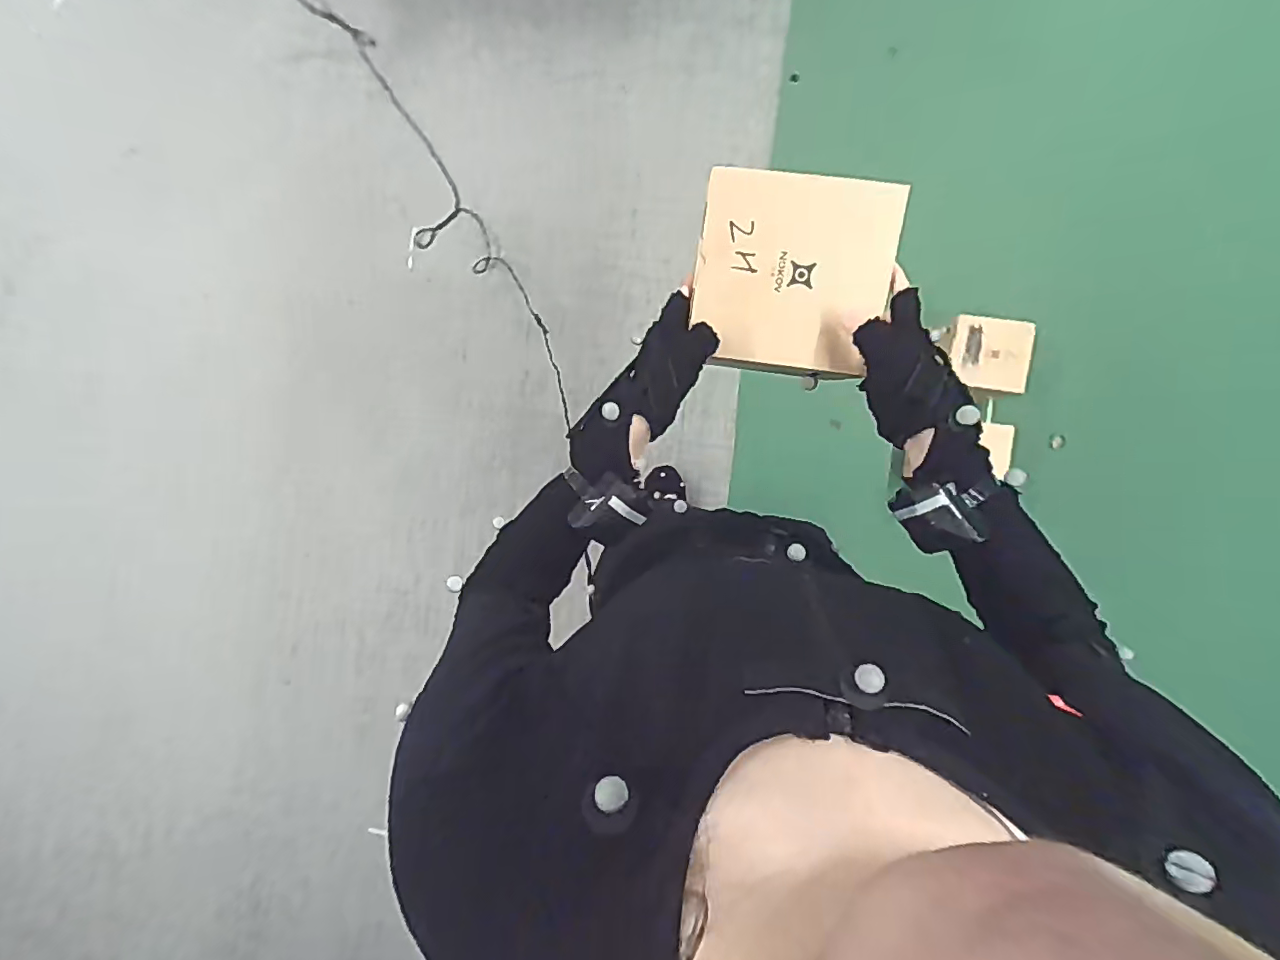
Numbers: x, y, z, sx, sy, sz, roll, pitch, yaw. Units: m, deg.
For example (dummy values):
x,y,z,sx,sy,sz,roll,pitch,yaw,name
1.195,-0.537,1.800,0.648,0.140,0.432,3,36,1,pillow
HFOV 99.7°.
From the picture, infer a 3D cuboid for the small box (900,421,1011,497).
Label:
x,y,z,sx,sy,sz,roll,pitch,yaw,name
0.784,-0.053,1.359,0.179,0.176,0.168,7,92,6,small box
